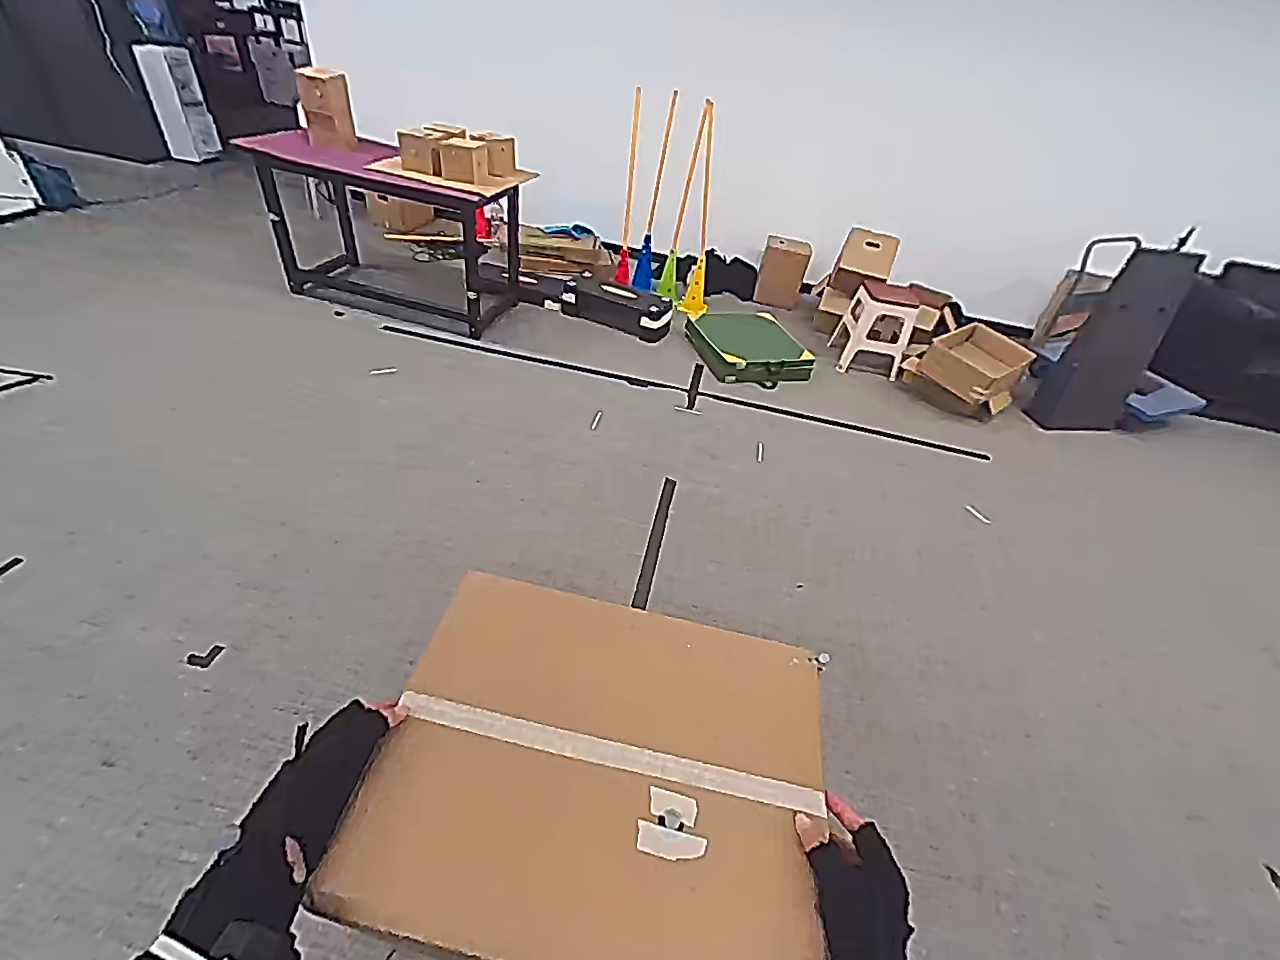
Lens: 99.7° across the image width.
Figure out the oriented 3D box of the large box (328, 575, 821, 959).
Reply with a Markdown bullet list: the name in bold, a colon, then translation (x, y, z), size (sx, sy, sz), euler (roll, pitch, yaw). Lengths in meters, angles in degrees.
- **large box**: translation (-0.047, 0.358, 0.626), size (0.408, 0.320, 0.320), euler (13, 47, 3)
